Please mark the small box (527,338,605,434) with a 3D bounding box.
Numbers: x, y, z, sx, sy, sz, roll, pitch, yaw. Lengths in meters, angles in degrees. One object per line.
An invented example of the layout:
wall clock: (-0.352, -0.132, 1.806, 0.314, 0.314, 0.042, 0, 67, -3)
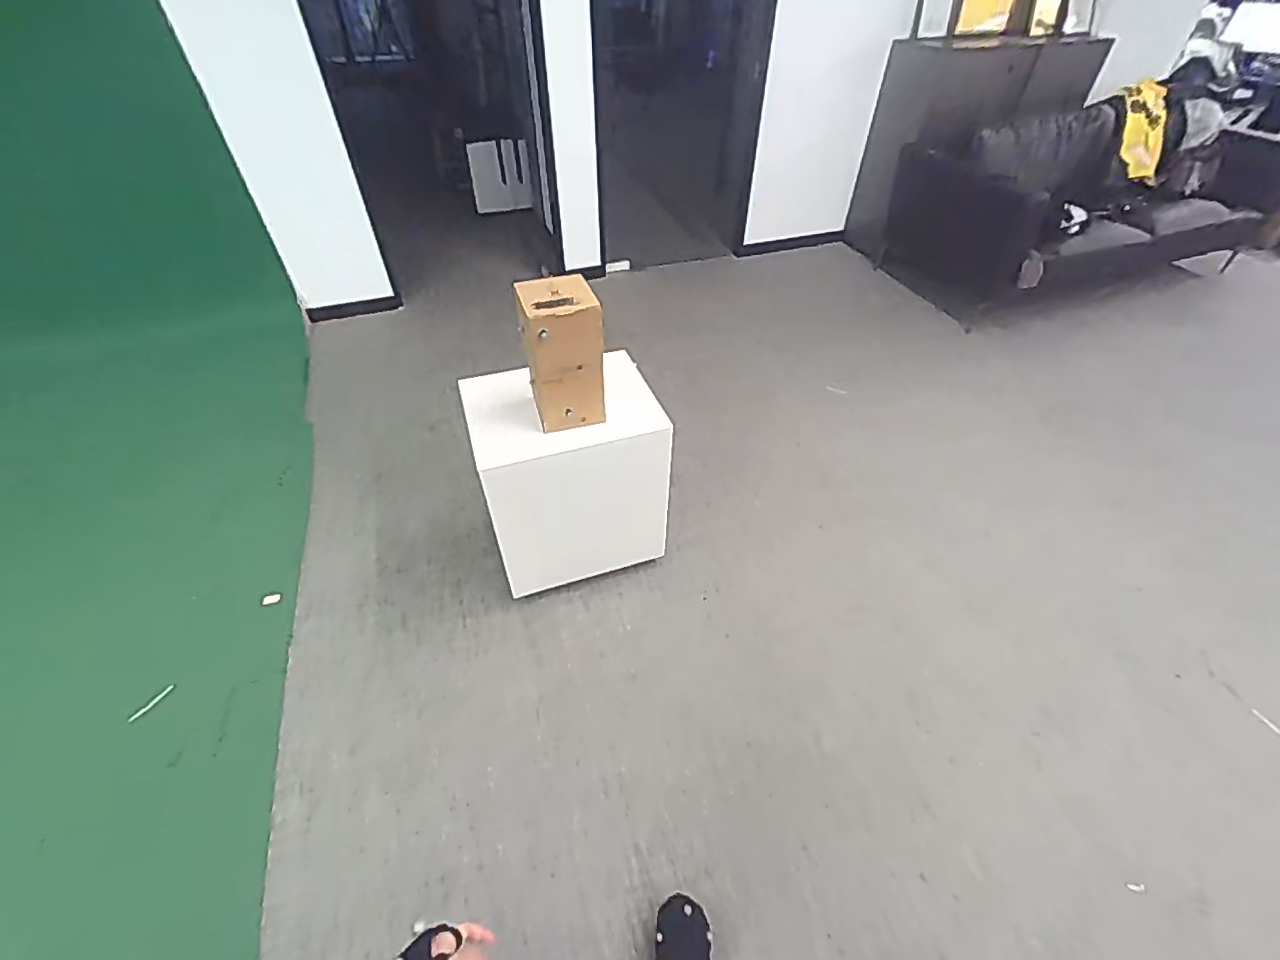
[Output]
small box: (-0.191, -0.245, 1.399, 0.168, 0.176, 0.179, -12, 45, -13)
